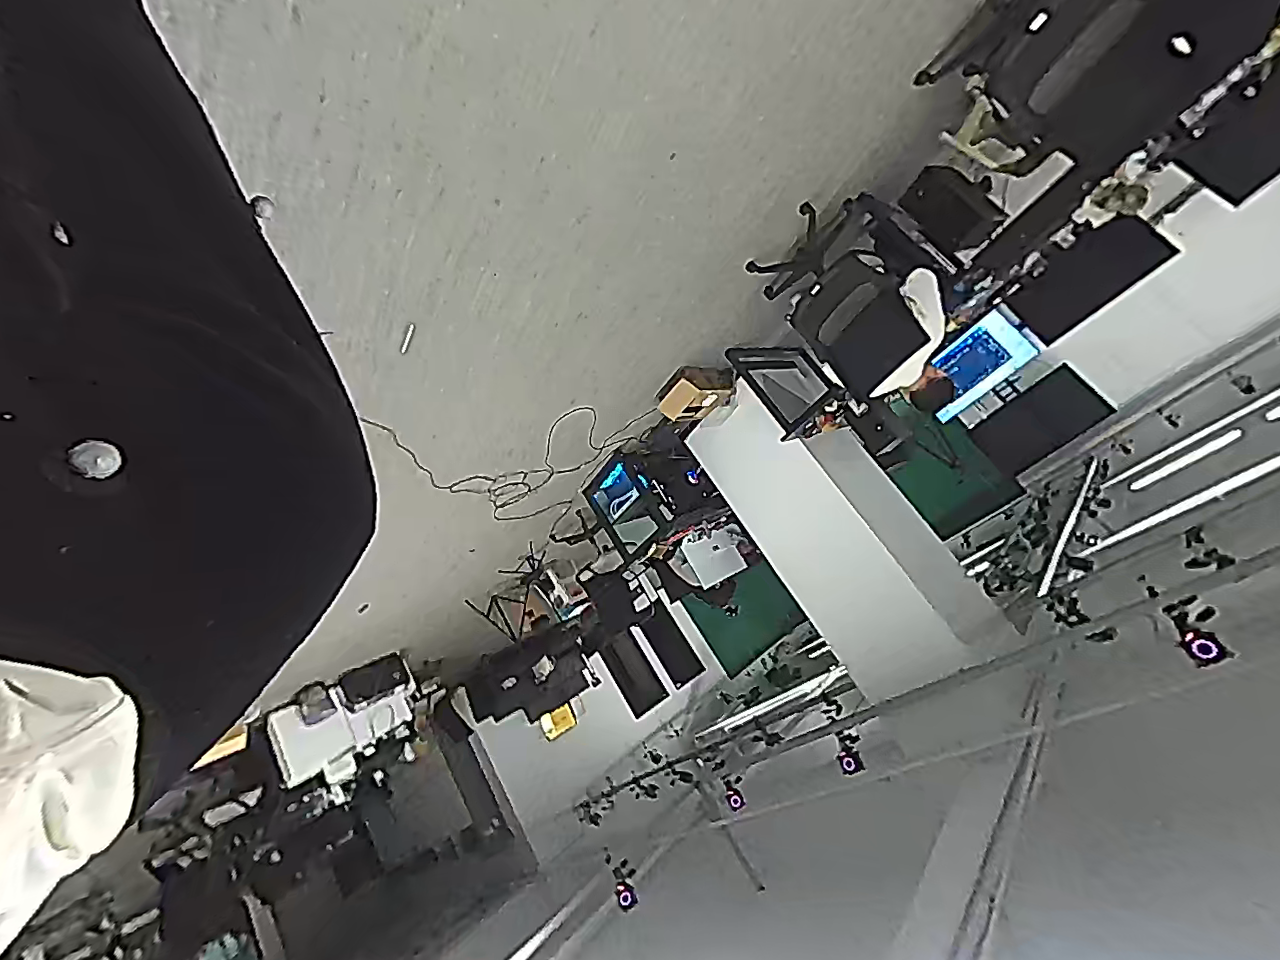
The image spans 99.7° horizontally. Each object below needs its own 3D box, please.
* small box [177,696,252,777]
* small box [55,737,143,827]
[{"bbox_3d":[-1.478,0.885,1.873,0.179,0.176,0.168,-14,154,-45],"label":"small box"},{"bbox_3d":[-1.660,0.924,1.664,0.168,0.176,0.179,-15,155,-46],"label":"small box"}]
